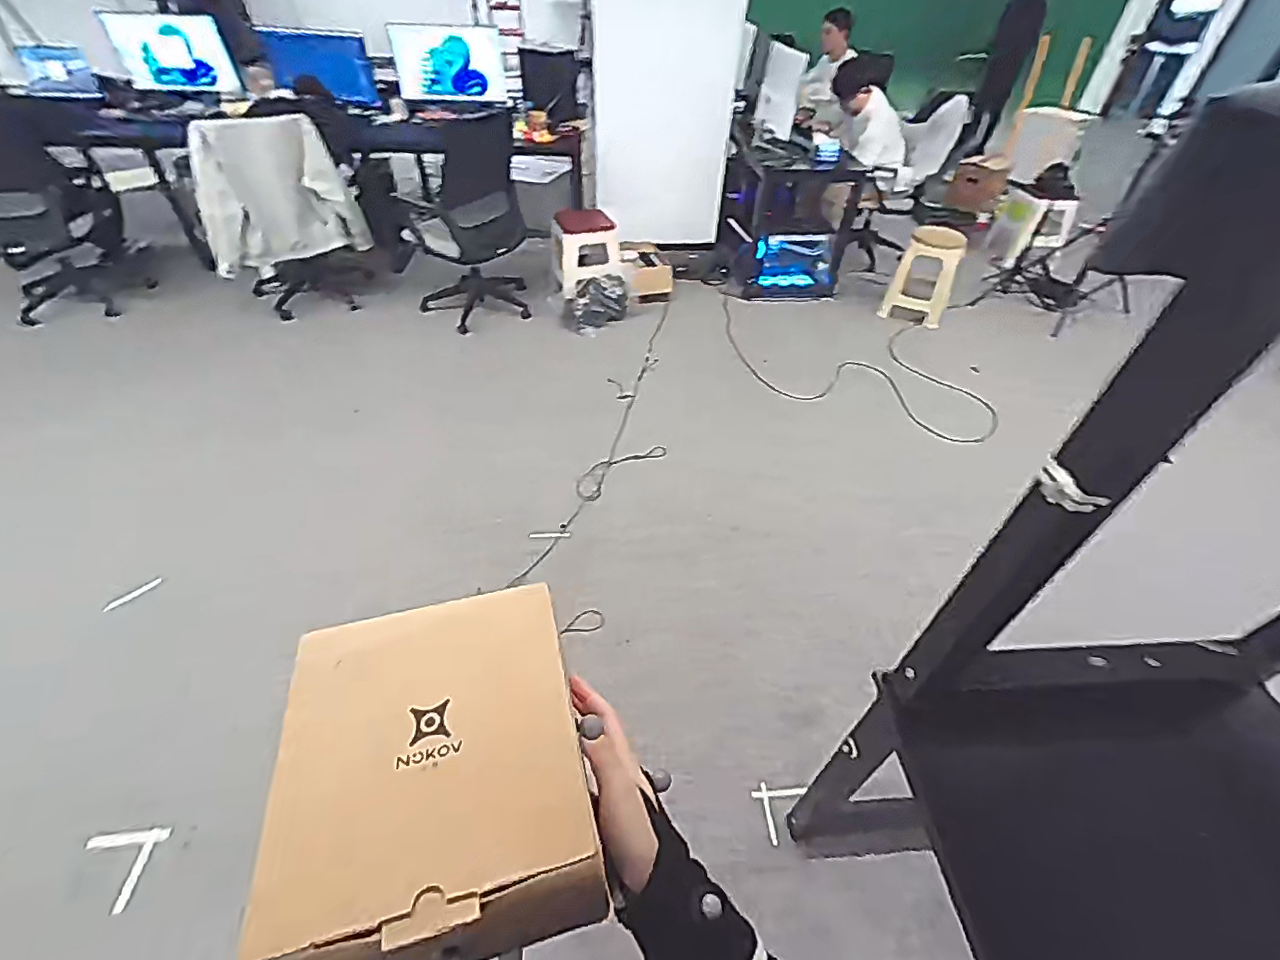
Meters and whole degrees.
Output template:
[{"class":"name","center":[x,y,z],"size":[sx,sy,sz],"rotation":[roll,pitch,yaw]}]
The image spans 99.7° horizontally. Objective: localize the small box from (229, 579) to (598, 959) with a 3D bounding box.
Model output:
[{"class":"small box","center":[-0.126,0.198,0.364],"size":[0.168,0.176,0.179],"rotation":[-10,45,-13]}]
